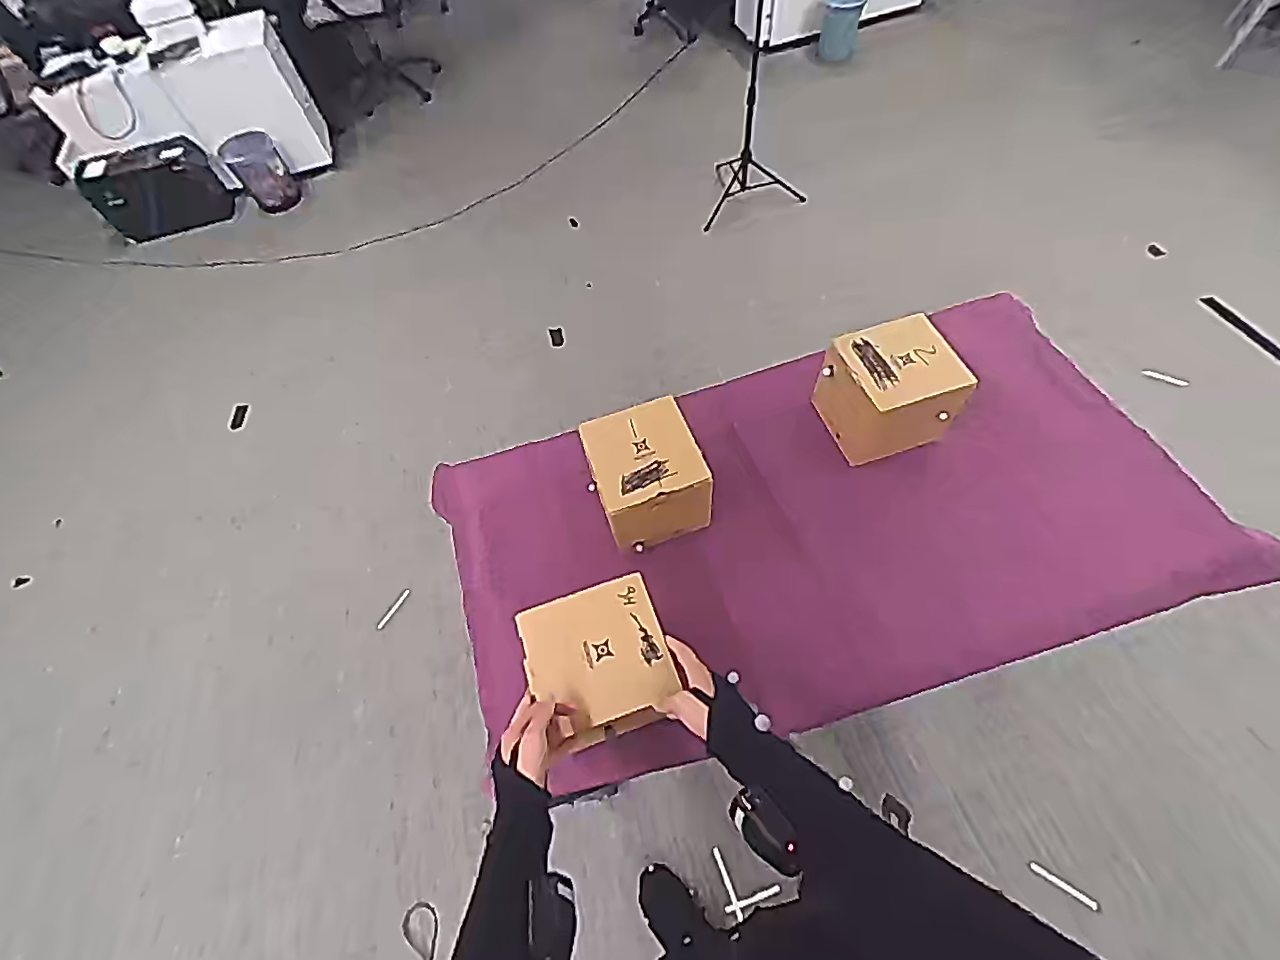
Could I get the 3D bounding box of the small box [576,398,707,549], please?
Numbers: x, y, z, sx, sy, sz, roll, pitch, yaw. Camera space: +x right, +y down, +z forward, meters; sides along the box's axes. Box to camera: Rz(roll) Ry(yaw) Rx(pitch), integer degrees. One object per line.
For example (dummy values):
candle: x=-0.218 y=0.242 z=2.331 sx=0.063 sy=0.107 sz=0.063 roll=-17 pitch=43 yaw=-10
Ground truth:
small box: x=0.006 y=-0.001 z=0.911 sx=0.168 sy=0.176 sz=0.179 roll=-19 pitch=60 yaw=-6

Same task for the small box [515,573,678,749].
small box: x=-0.054 y=0.257 z=0.750 sx=0.179 sy=0.176 sz=0.168 roll=-18 pitch=61 yaw=-7
